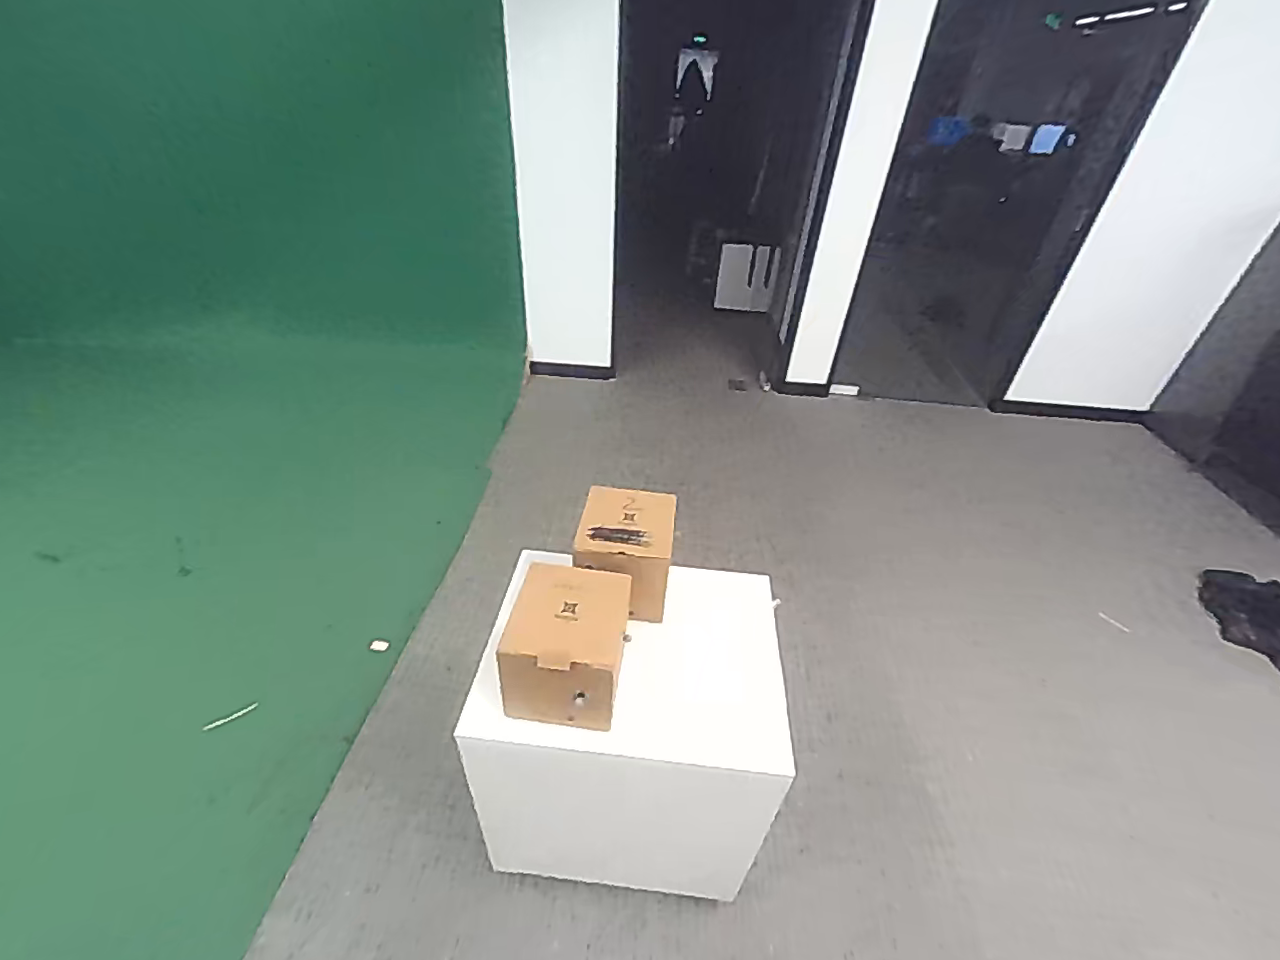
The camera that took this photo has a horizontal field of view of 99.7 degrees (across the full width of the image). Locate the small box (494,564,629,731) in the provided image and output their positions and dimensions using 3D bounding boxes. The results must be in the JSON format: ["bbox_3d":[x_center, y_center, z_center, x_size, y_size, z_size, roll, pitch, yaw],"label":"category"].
[{"bbox_3d":[-0.113,0.259,0.838,0.168,0.176,0.179,8,35,2],"label":"small box"}]
